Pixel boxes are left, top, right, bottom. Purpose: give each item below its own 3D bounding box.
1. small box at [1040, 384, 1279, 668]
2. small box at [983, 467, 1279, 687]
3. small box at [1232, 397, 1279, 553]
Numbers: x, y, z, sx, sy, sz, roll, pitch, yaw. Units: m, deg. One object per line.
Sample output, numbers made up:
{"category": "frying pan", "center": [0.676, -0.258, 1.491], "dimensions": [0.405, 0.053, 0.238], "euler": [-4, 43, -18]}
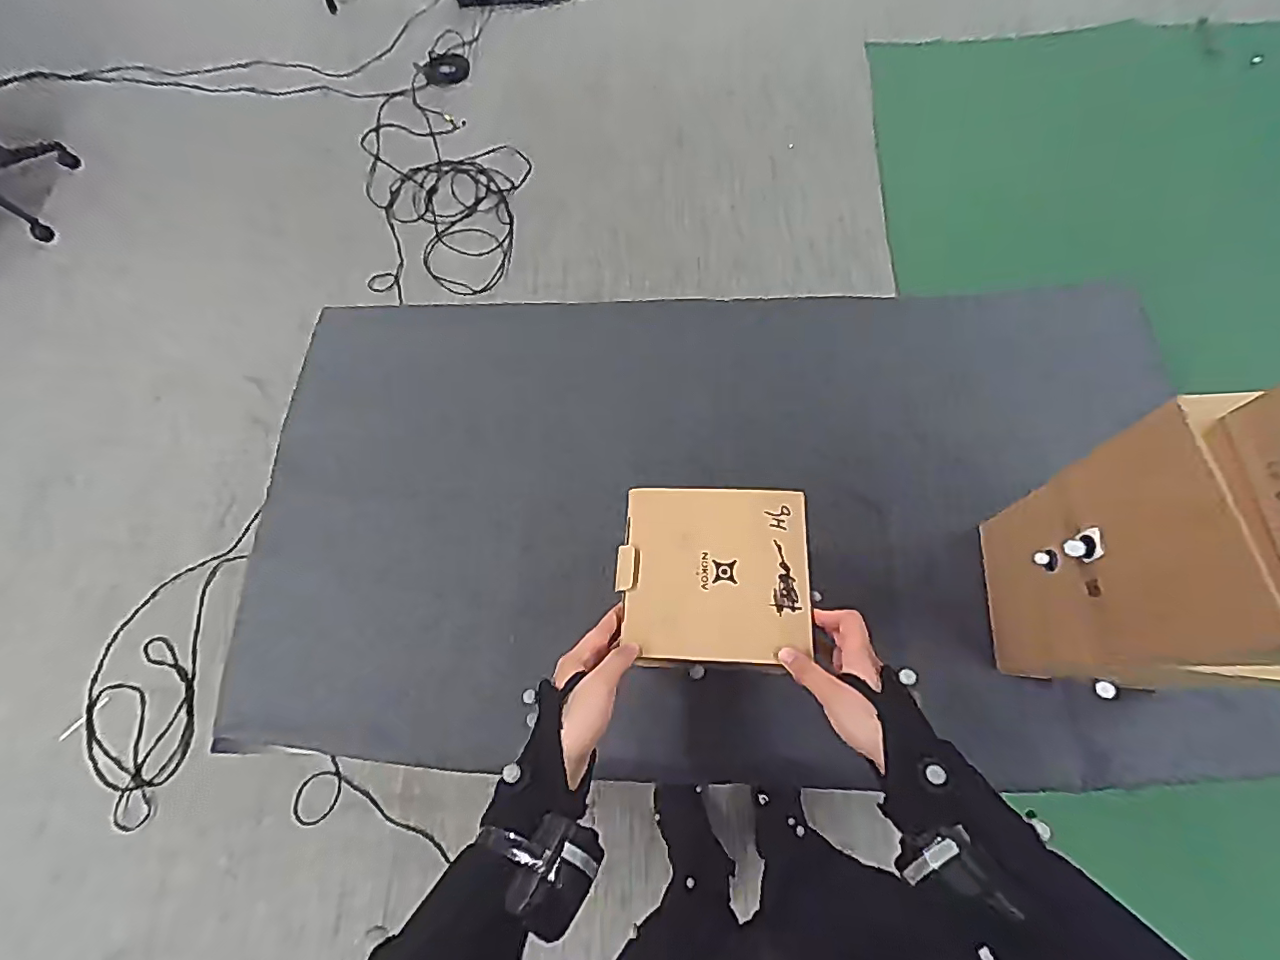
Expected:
{"category": "small box", "center": [0.449, 0.043, 0.395], "dimensions": [0.179, 0.176, 0.168], "euler": [-3, 66, 6]}
{"category": "small box", "center": [0.474, 0.104, 0.543], "dimensions": [0.168, 0.176, 0.179], "euler": [4, 69, 8]}
{"category": "small box", "center": [0.447, -0.001, 0.234], "dimensions": [0.179, 0.176, 0.168], "euler": [2, 66, 6]}
